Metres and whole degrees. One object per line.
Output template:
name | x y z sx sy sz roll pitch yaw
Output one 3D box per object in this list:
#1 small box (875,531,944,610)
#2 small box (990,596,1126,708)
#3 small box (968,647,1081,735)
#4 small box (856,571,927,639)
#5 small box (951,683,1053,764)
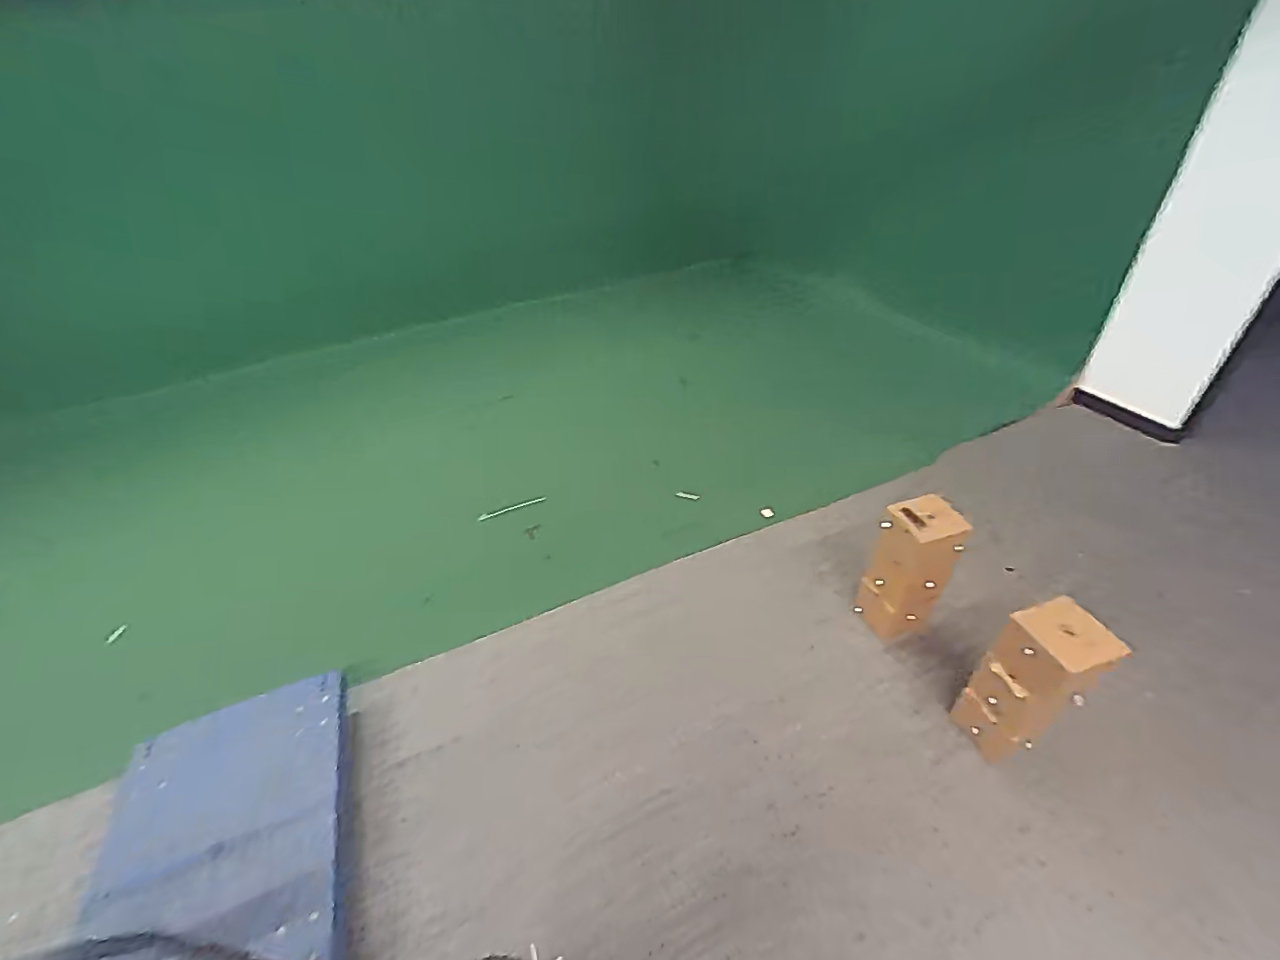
small box | 0.872 0.294 1.766 0.168 0.176 0.179 5 40 15
small box | 1.008 0.420 1.324 0.168 0.176 0.179 -14 40 -9
small box | 1.018 0.541 1.433 0.179 0.176 0.168 -13 39 -9
small box | 0.866 0.419 1.858 0.179 0.176 0.168 -13 41 -11
small box | 1.021 0.671 1.536 0.179 0.176 0.168 -17 41 -12
